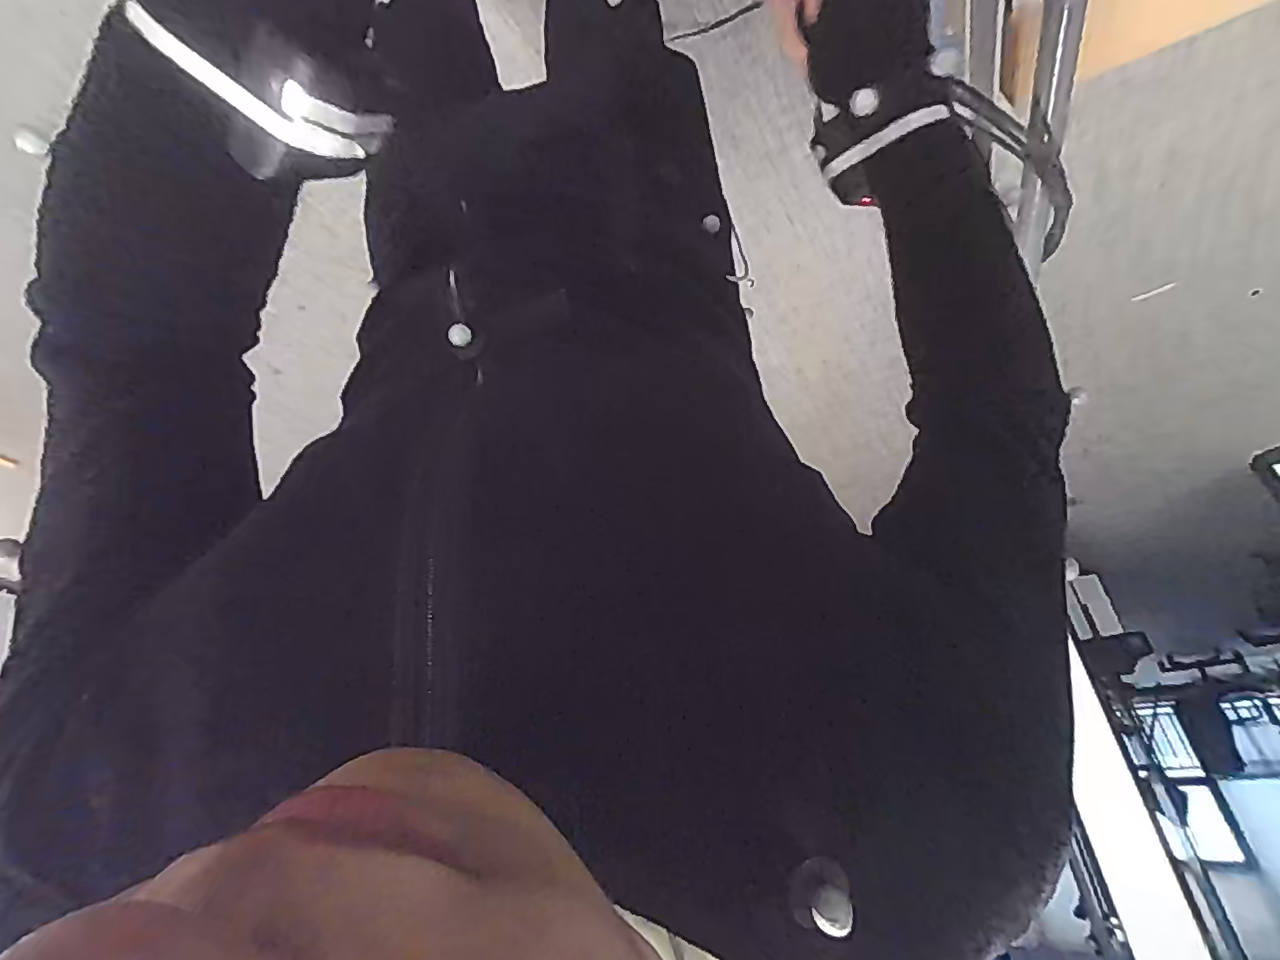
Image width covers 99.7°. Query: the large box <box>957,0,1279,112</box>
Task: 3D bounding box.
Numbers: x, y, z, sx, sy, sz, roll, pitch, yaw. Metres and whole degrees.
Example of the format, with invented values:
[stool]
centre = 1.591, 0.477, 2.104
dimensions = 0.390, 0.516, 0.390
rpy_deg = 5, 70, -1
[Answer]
[large box]
centre = 0.680, -0.800, 0.711
dimensions = 0.408, 0.320, 0.320
rpy_deg = -15, 145, 22
